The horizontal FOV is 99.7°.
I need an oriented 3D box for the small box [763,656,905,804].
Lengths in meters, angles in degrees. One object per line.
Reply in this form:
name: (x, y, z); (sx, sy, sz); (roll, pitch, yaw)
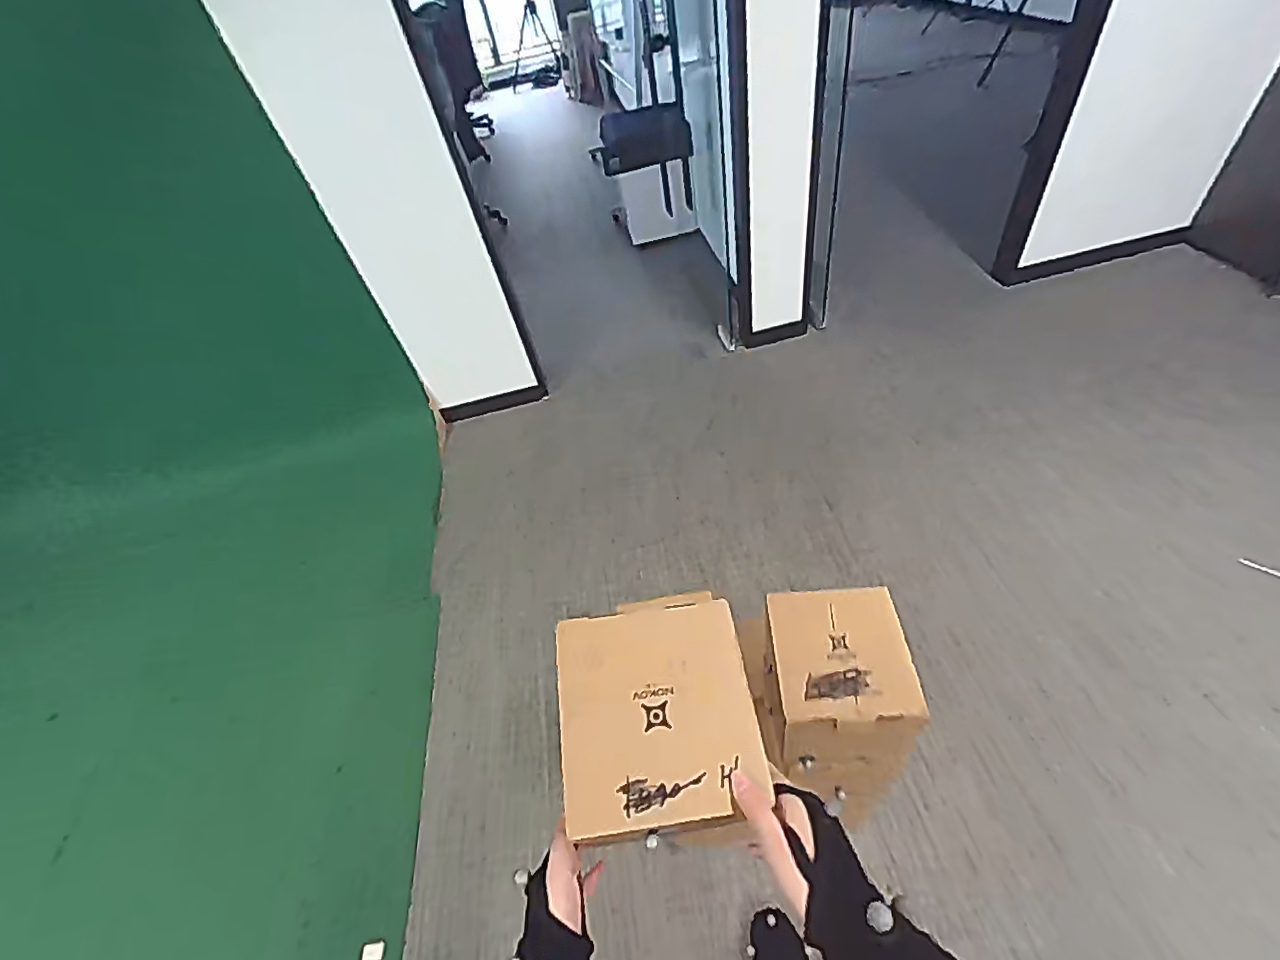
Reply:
small box: (0.292, 0.389, 0.858); (0.168, 0.176, 0.179); (-9, 45, 5)

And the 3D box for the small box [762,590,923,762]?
small box: (0.263, 0.274, 0.743); (0.168, 0.176, 0.179); (-6, 45, 8)

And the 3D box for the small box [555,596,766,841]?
small box: (0.011, 0.238, 0.534); (0.168, 0.176, 0.179); (-8, 54, -2)
